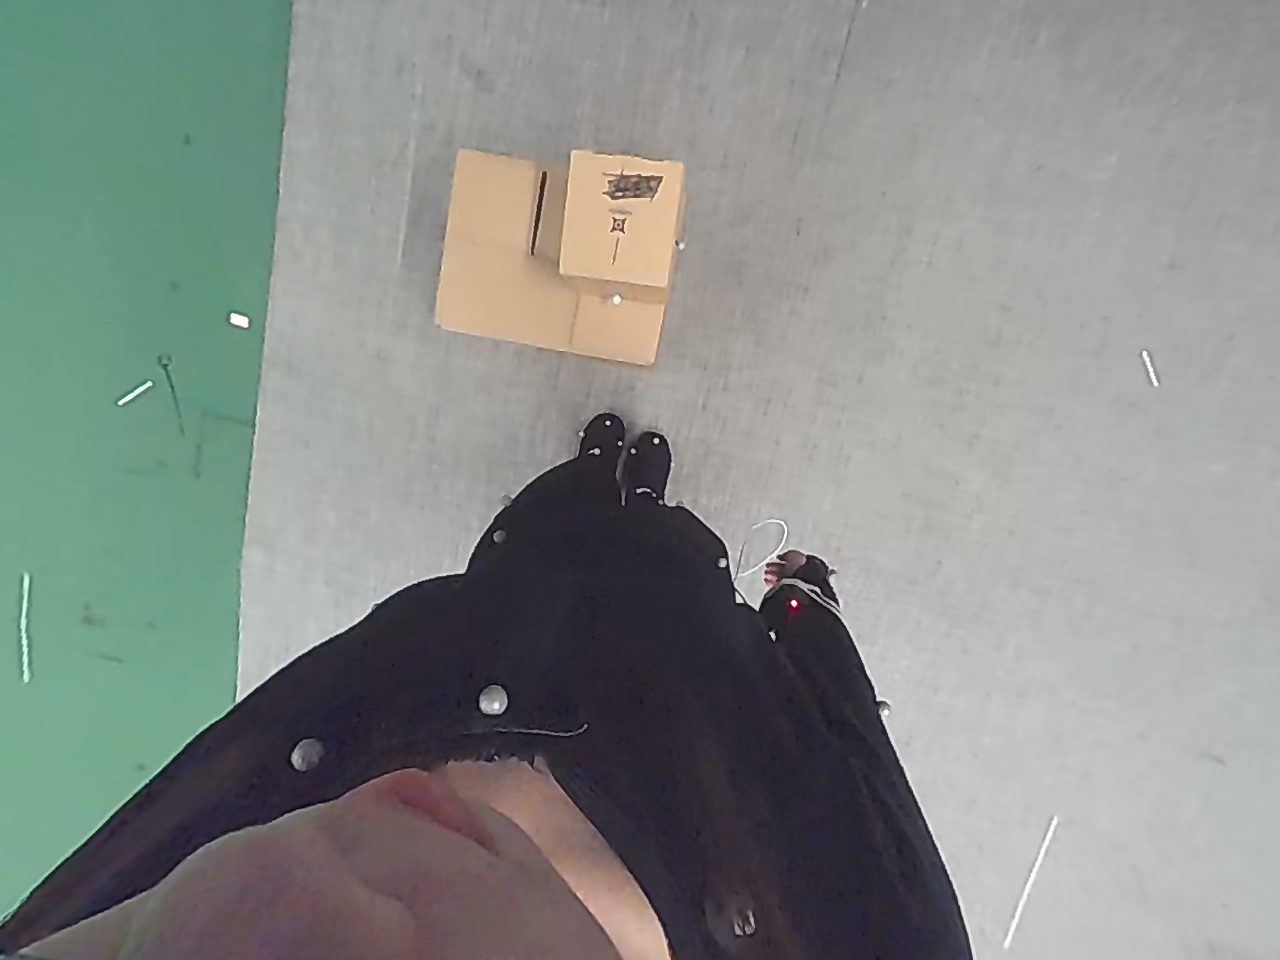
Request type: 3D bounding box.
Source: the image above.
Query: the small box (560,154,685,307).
[{"bbox_3d":[-0.024,-0.392,0.877,0.168,0.176,0.179,9,101,3],"label":"small box"}]
